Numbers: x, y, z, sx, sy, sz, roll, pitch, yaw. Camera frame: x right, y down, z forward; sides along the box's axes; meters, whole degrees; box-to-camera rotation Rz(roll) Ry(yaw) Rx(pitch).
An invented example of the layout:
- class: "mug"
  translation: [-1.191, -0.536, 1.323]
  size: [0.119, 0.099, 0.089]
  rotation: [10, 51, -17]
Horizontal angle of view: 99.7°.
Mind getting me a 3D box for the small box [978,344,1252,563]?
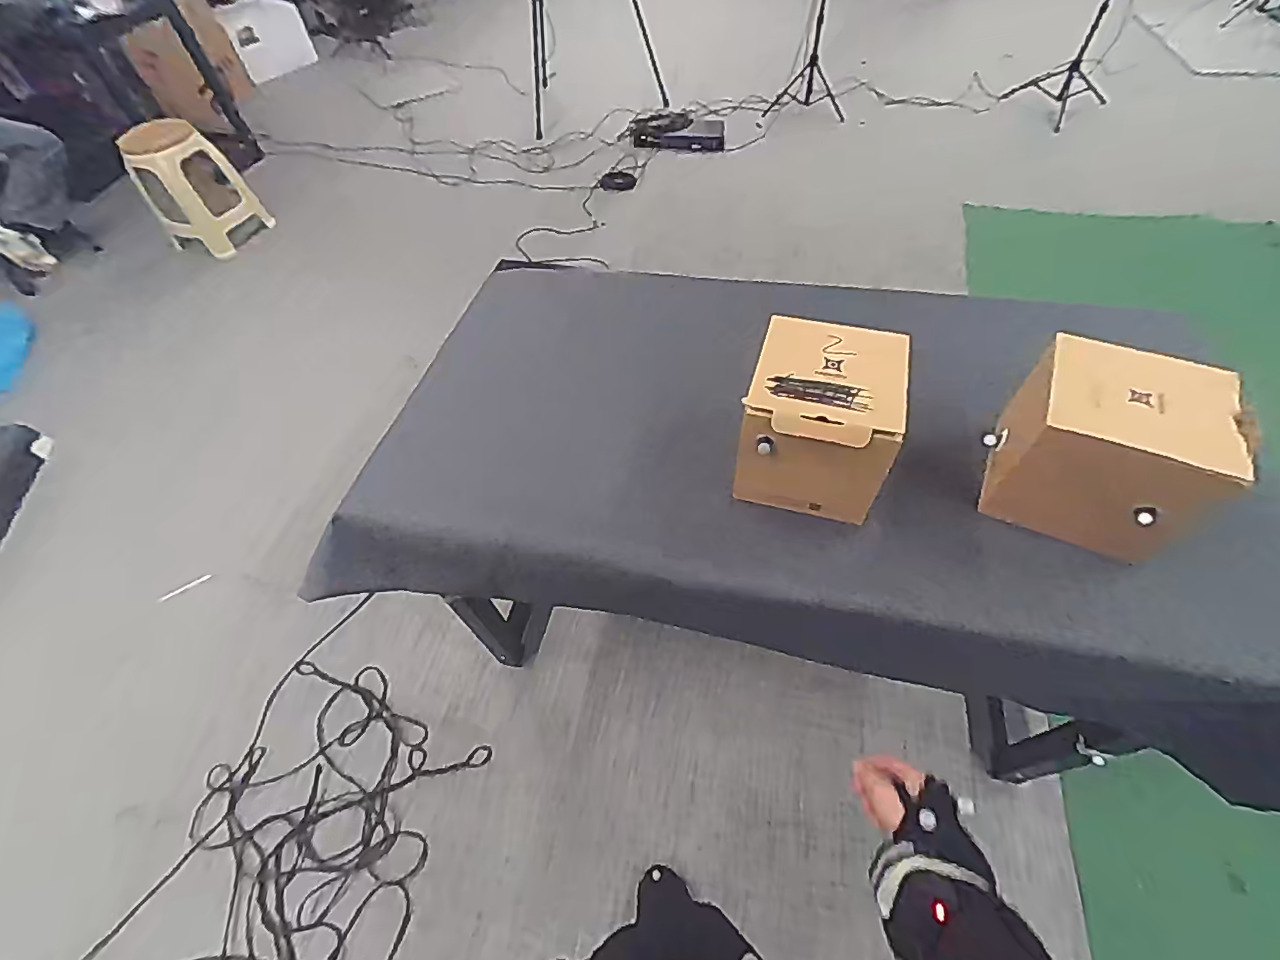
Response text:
- class: "small box"
  translation: [0.536, -0.026, 0.635]
  size: [0.179, 0.176, 0.168]
  rotation: [20, 56, 19]
